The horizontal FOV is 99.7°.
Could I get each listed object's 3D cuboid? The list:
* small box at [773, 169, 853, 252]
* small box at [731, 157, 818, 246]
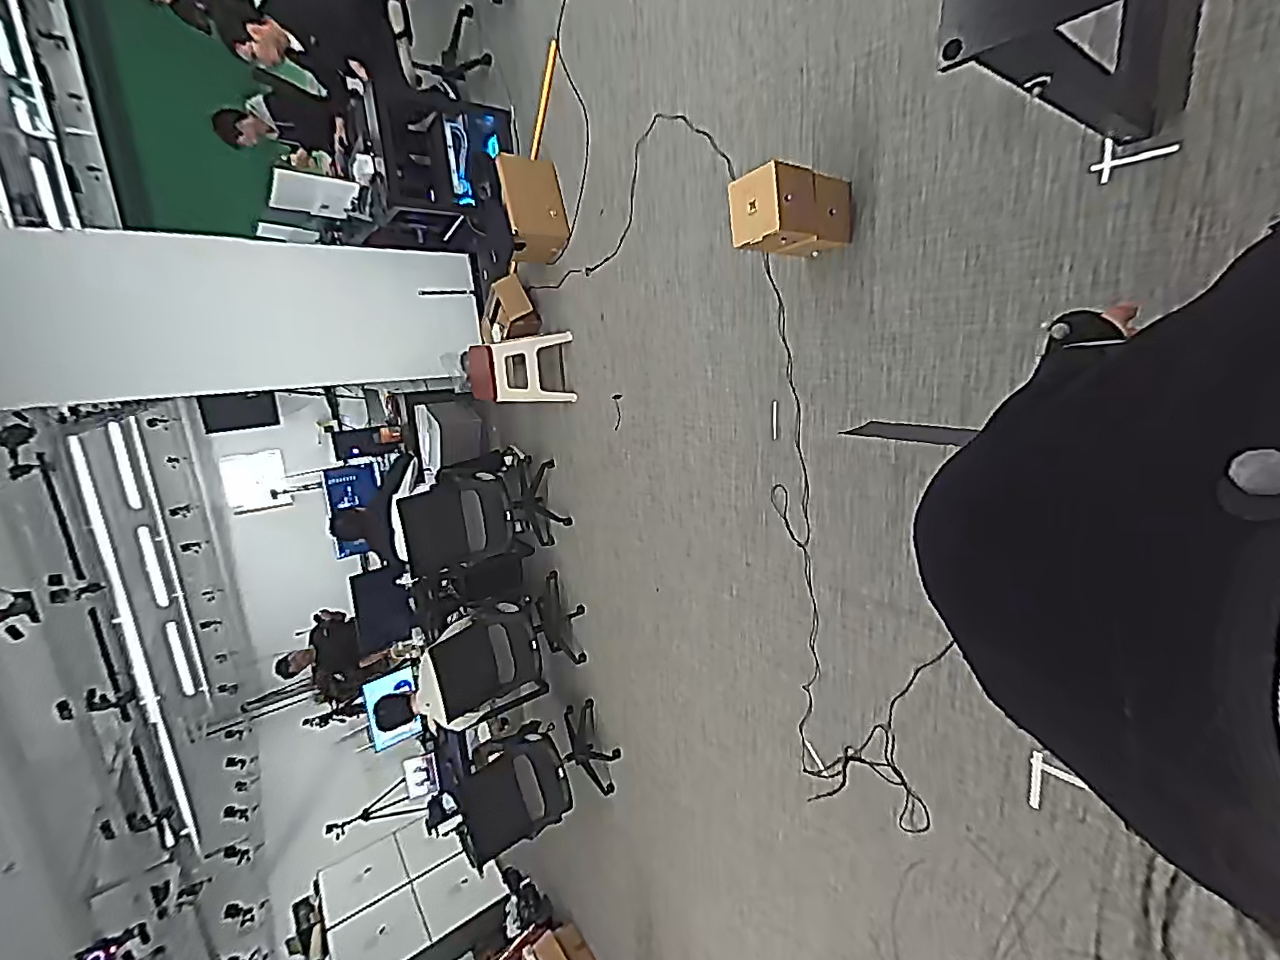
[{"bbox_3d":[0.508,-0.781,1.588,0.168,0.176,0.179,10,109,53],"label":"small box"},{"bbox_3d":[0.376,-0.758,1.496,0.168,0.176,0.179,4,103,53],"label":"small box"}]
